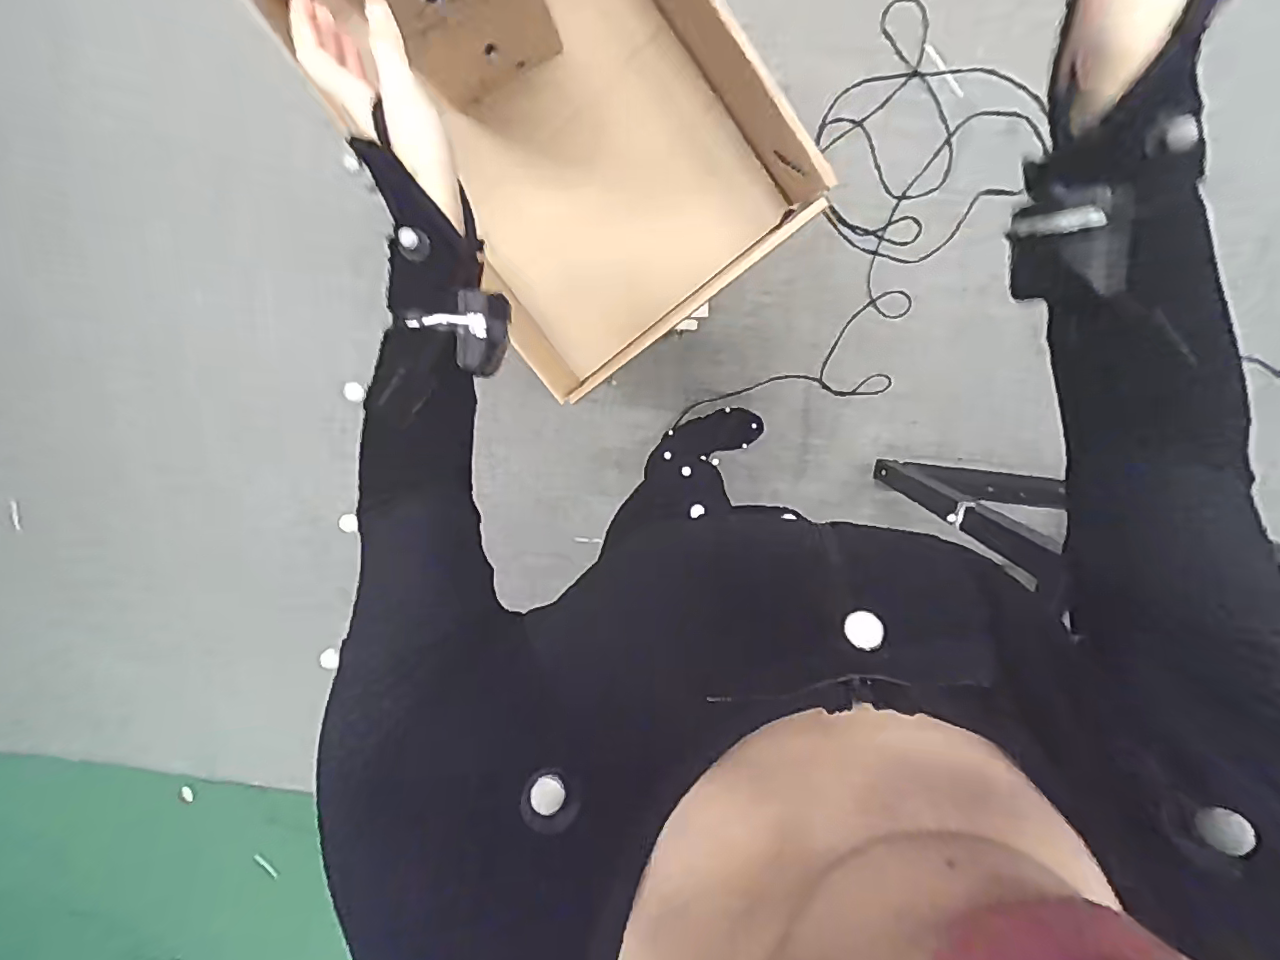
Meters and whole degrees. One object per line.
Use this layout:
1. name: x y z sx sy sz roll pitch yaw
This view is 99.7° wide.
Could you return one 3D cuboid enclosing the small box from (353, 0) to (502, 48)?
1. small box: -0.218 -0.532 0.460 0.168 0.176 0.179 -20 103 10
